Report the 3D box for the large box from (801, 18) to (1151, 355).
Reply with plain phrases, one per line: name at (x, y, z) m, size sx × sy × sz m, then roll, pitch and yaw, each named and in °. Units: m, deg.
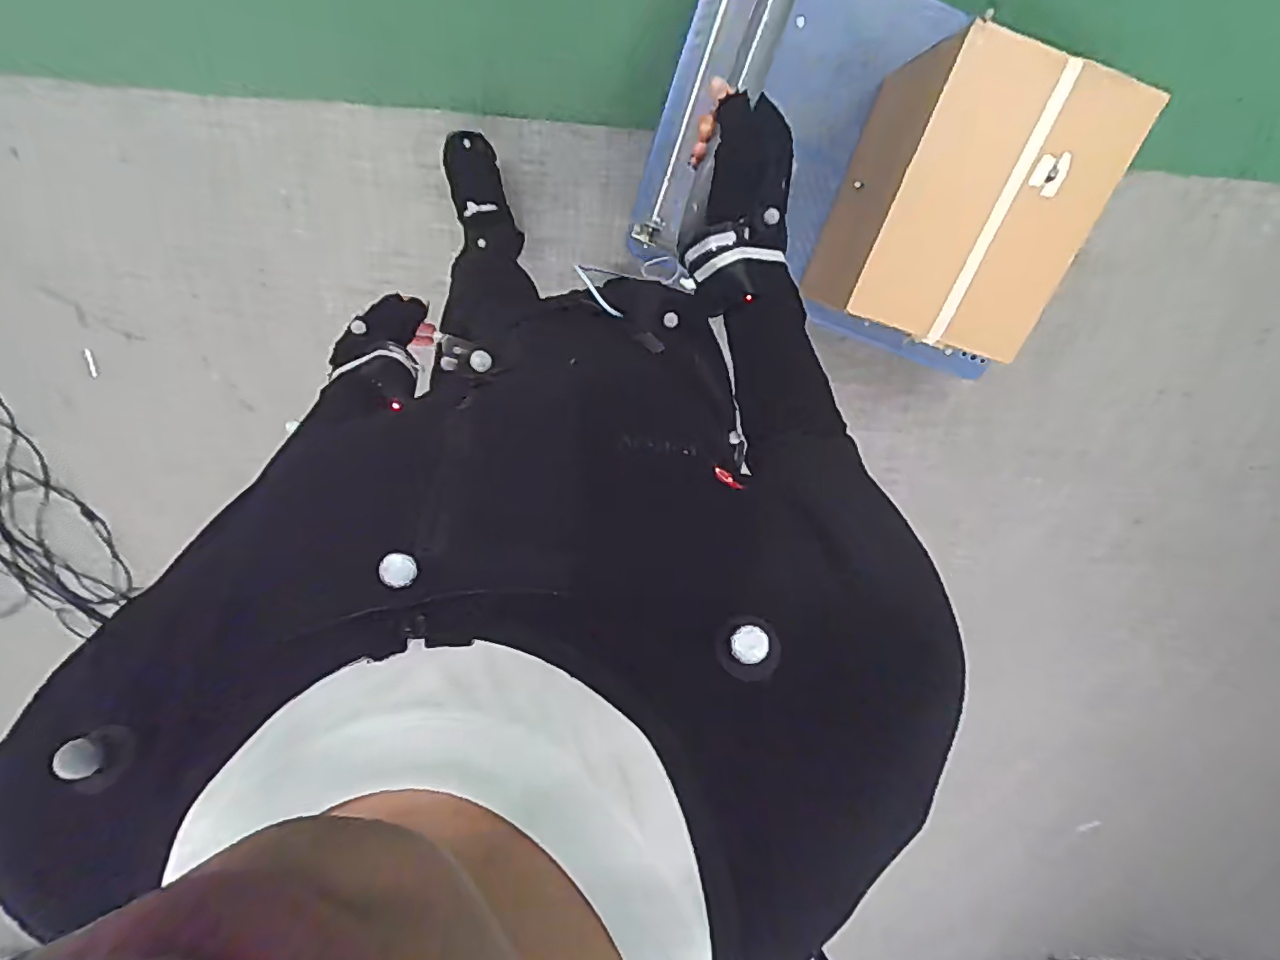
large box at (0.539, -0.483, 0.973) m, size 0.320 × 0.320 × 0.408 m, roll 16°, pitch 113°, yaw -7°
